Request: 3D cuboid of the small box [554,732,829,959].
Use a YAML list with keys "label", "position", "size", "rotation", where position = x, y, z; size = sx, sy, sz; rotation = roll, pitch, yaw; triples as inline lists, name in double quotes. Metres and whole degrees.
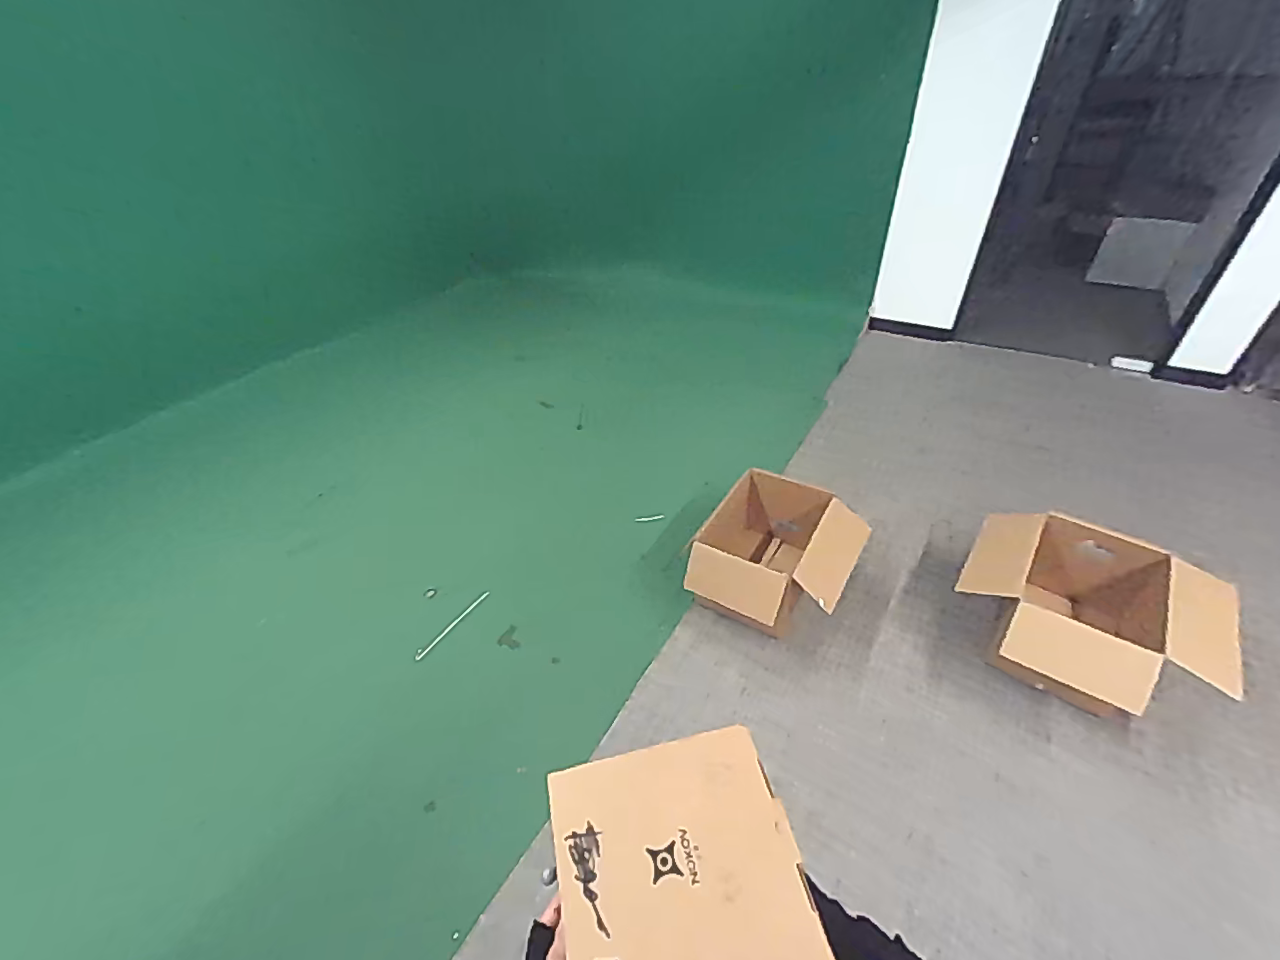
- label: "small box"
  position: [0.028, 0.343, 0.456]
  size: [0.179, 0.176, 0.168]
  rotation: [-8, 43, -8]
